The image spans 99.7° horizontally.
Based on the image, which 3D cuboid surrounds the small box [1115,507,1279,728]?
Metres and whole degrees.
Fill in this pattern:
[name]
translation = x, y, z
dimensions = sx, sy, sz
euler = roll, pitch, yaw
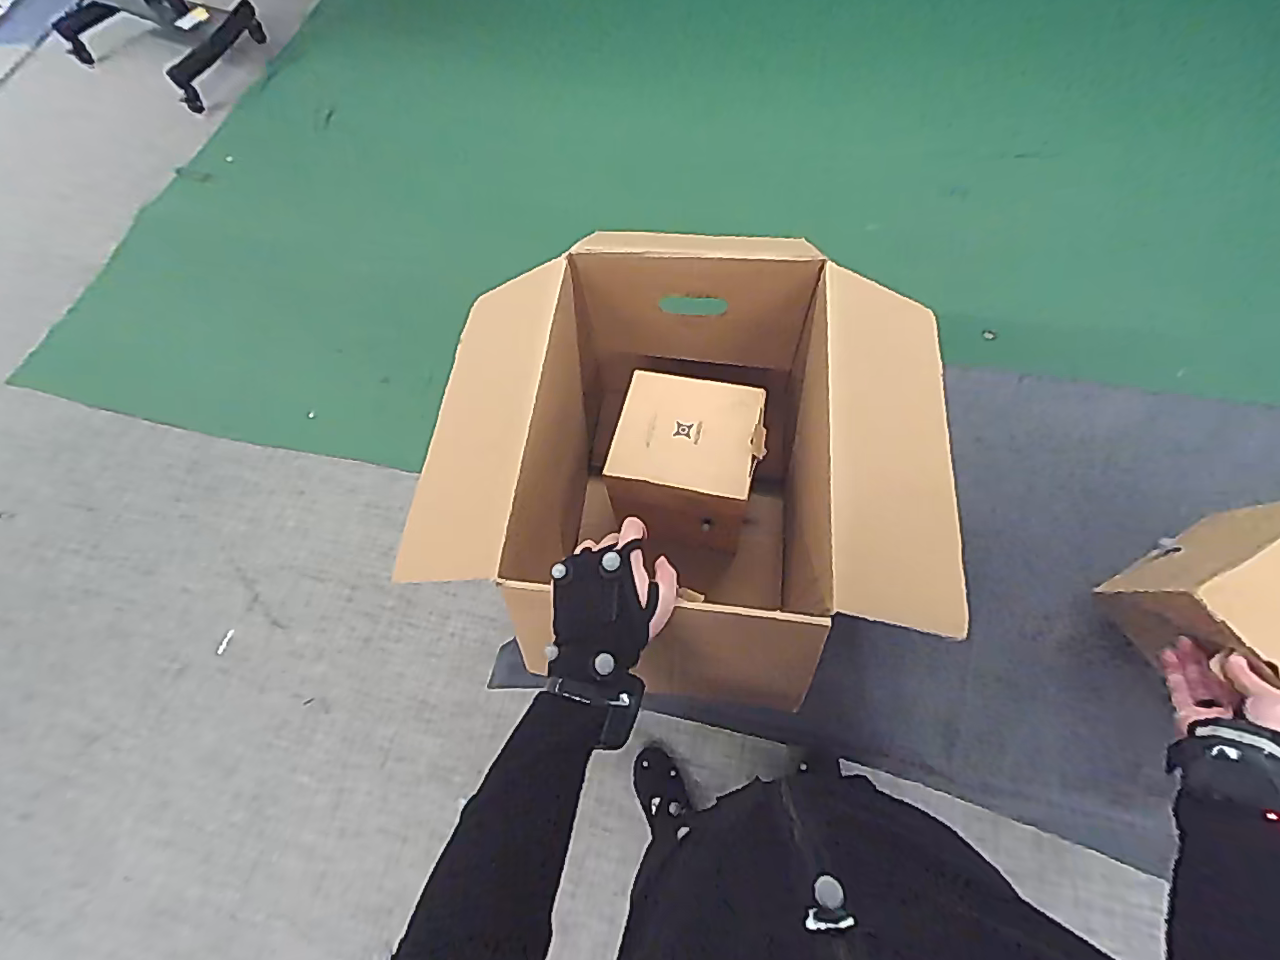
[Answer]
[small box]
translation = 0.651, 0.140, 0.556
dimensions = 0.179, 0.176, 0.168
euler = -35, 73, 4
